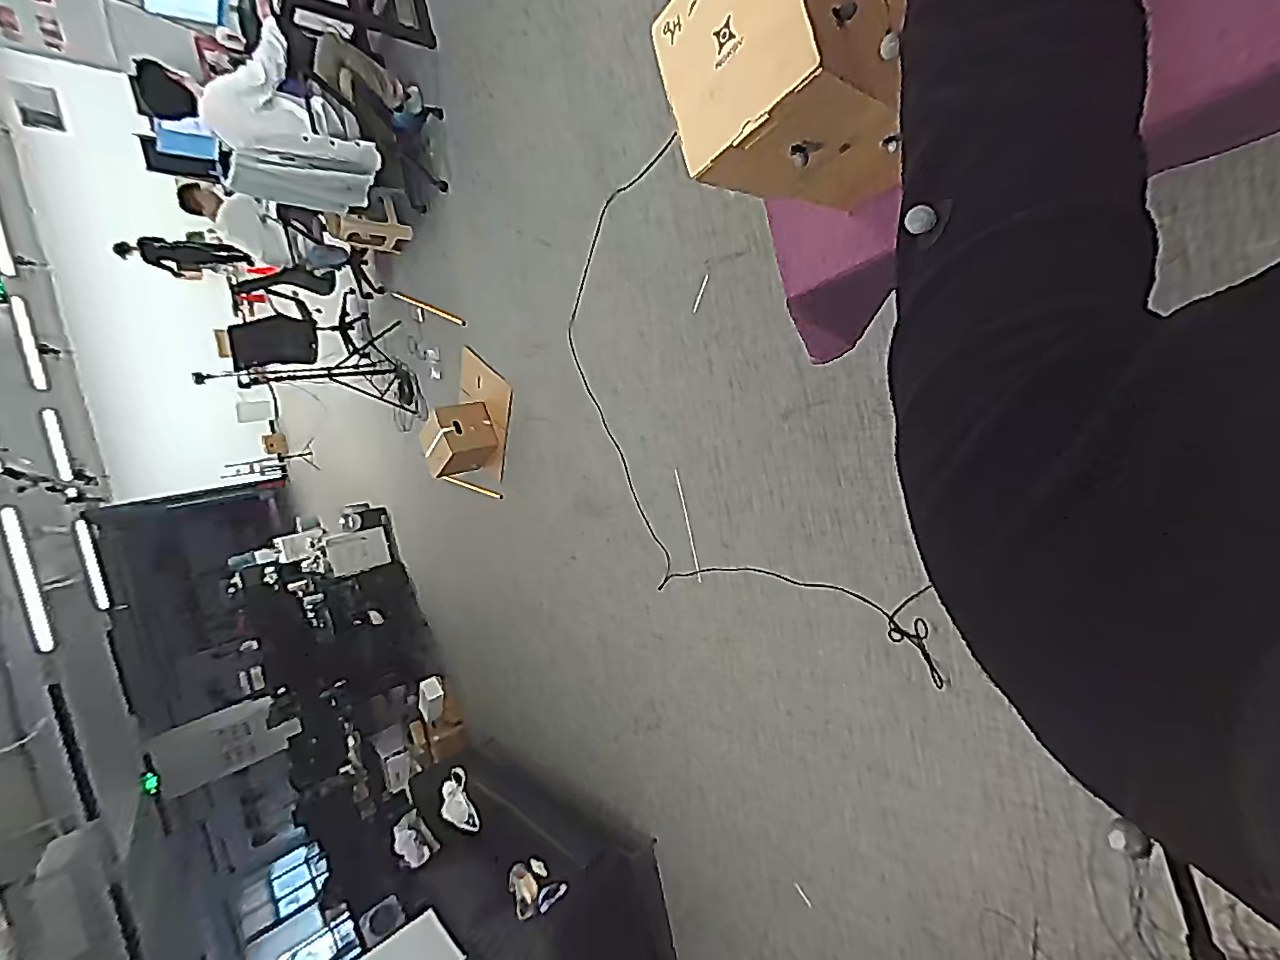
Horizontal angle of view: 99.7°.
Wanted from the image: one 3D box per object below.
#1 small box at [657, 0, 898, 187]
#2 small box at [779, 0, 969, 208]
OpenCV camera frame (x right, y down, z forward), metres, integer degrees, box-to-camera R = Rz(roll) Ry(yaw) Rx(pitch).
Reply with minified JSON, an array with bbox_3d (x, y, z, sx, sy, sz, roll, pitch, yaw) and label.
[{"bbox_3d":[0.150,-0.442,0.582,0.168,0.176,0.179,-15,90,50],"label":"small box"},{"bbox_3d":[0.277,-0.471,0.682,0.179,0.176,0.168,-14,90,50],"label":"small box"}]
